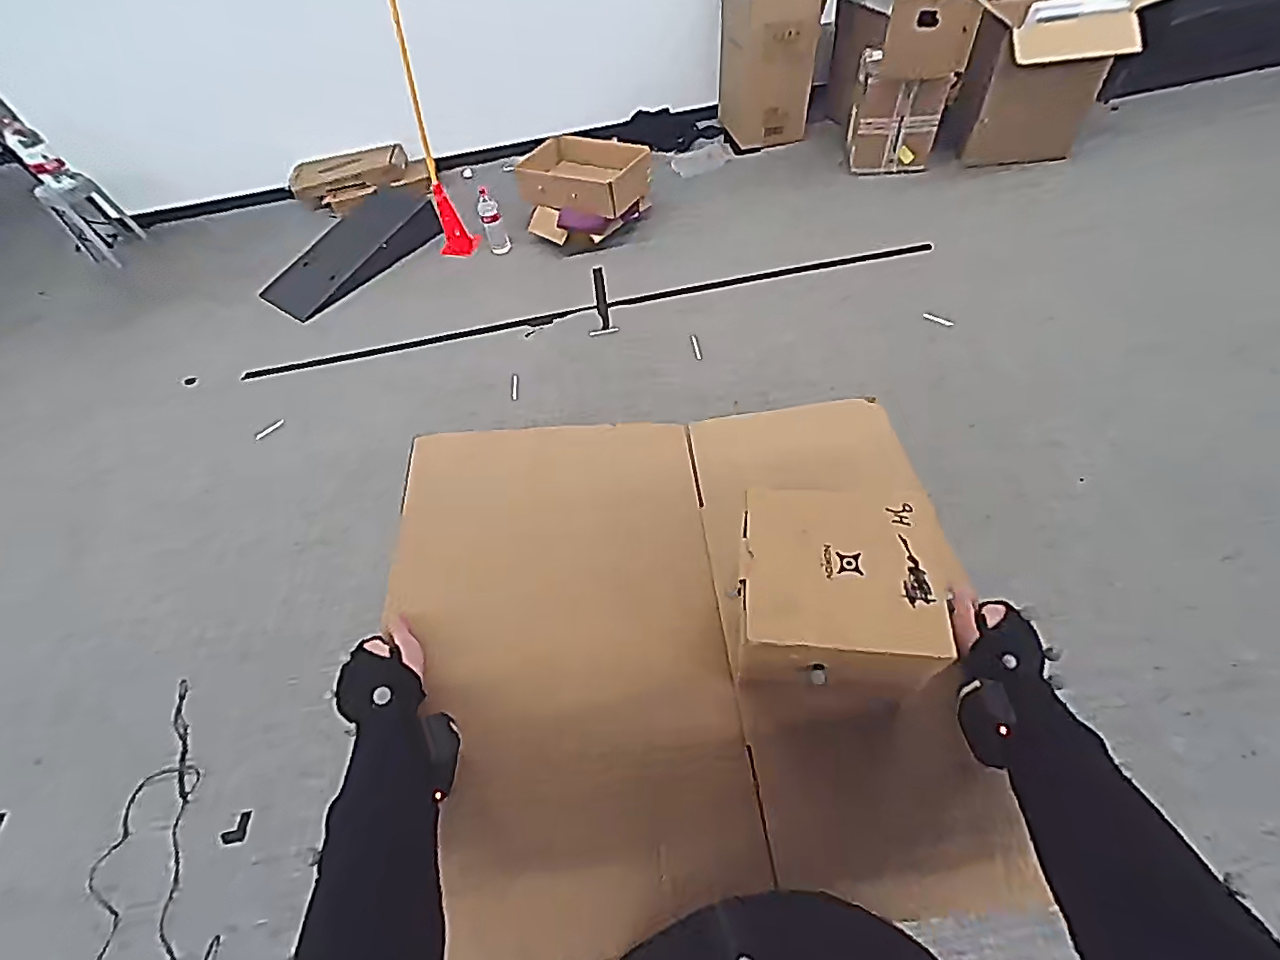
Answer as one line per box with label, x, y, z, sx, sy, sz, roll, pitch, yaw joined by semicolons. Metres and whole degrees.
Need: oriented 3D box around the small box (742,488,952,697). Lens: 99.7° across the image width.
small box;0.200;0.124;0.578;0.179;0.176;0.168;2;57;10
